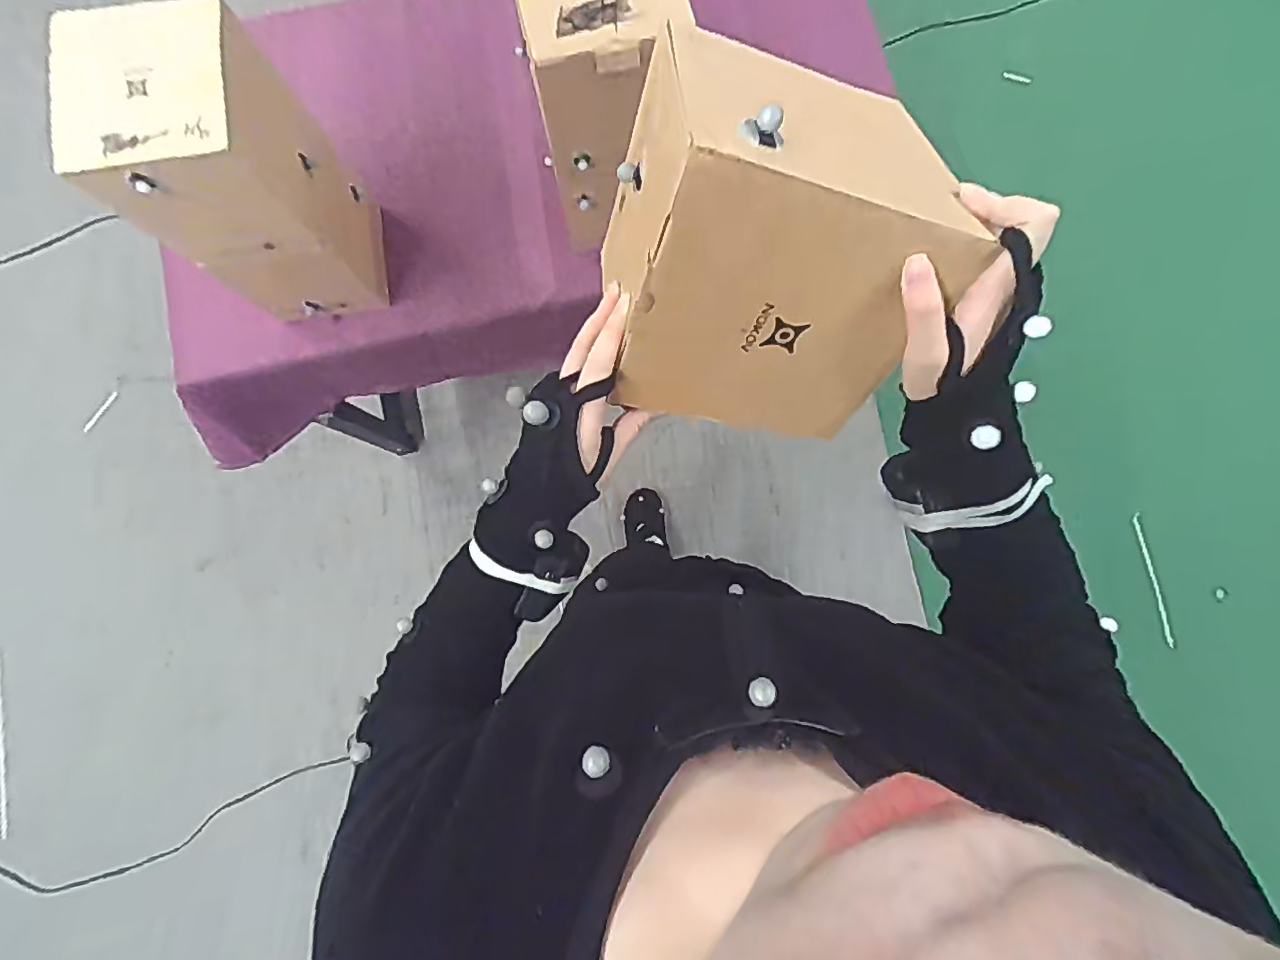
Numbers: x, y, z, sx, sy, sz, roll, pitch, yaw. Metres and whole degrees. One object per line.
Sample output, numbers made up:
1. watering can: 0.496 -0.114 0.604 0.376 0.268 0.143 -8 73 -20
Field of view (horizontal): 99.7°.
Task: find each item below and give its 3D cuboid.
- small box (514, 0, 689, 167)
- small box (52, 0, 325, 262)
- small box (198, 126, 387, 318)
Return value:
1. small box: -0.047 -0.493 0.618 0.168 0.176 0.179 -14 81 -2
2. small box: -0.481 -0.374 0.602 0.168 0.176 0.179 -8 82 0
3. small box: -0.480 -0.353 0.766 0.168 0.176 0.179 -8 83 -1
